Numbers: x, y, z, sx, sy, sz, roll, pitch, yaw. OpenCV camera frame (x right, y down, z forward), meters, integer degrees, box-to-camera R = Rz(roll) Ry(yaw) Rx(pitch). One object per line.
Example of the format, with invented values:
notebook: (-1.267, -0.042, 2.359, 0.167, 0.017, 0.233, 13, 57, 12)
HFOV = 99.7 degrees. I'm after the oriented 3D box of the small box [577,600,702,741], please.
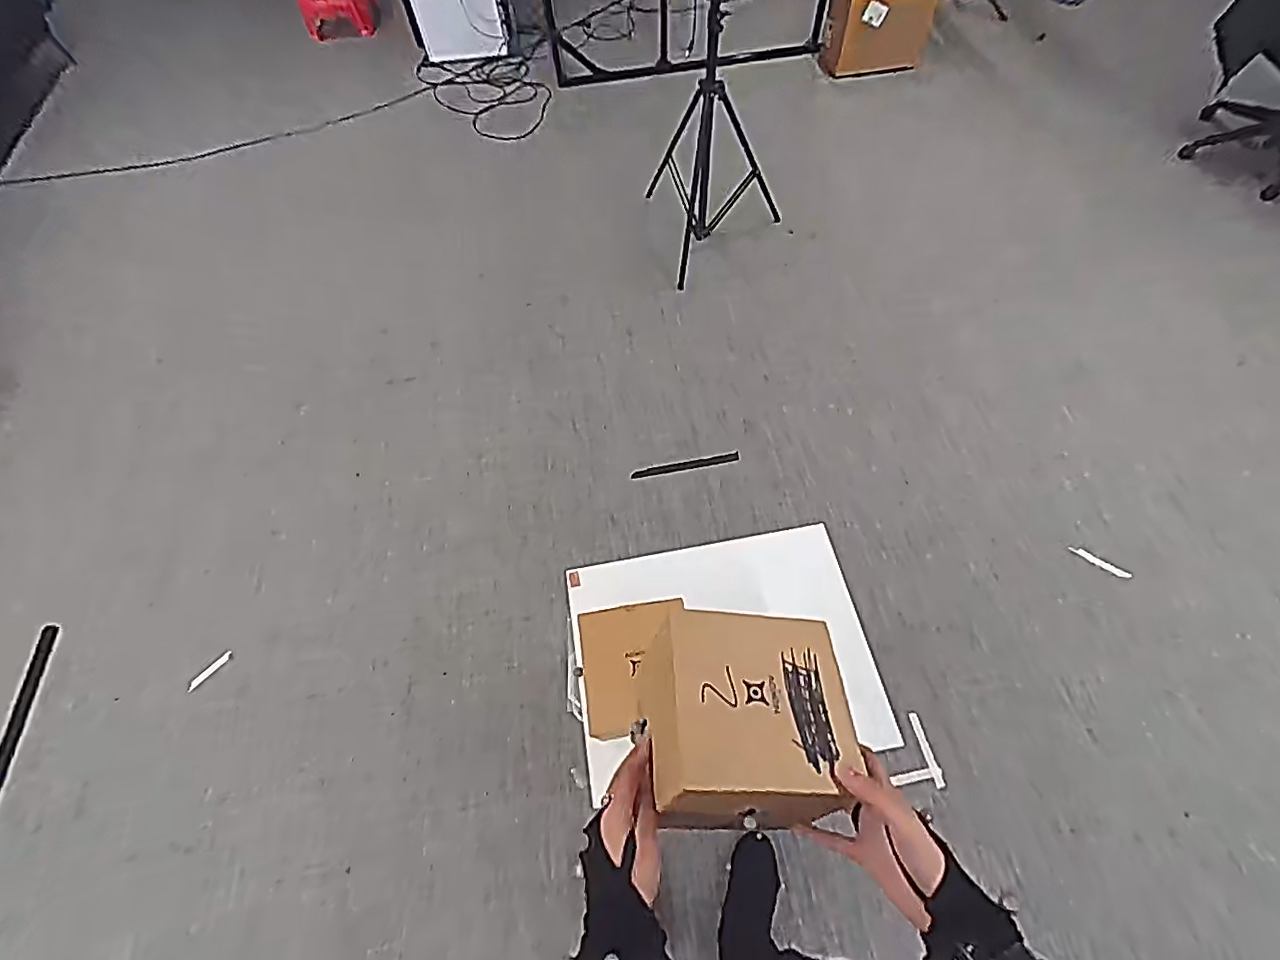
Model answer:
small box: (0.000, 0.308, 0.857, 0.168, 0.176, 0.179, -9, 62, -2)
